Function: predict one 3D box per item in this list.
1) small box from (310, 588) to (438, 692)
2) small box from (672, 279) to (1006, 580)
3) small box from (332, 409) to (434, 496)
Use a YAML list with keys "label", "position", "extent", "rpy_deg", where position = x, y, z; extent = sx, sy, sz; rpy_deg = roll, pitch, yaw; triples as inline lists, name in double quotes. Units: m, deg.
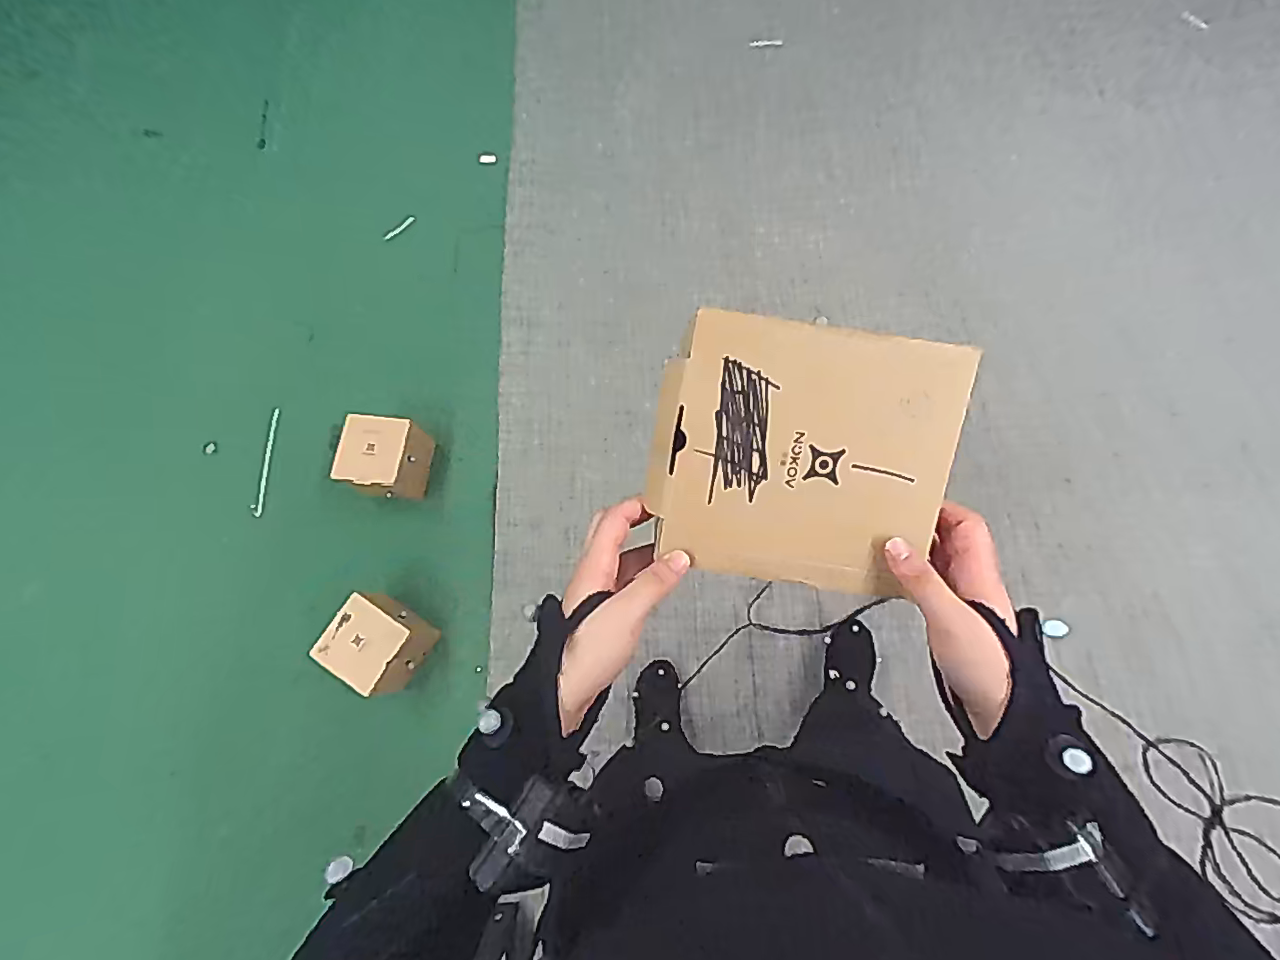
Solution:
- label: "small box"
  position: [-0.617, 0.373, 1.280]
  extent: [0.179, 0.176, 0.168]
  rpy_deg: [31, 78, 10]
- label: "small box"
  position: [0.123, -0.041, 0.415]
  extent: [0.179, 0.176, 0.168]
  rpy_deg: [9, 101, -1]
- label: "small box"
  position: [-0.659, -0.066, 1.410]
  extent: [0.168, 0.176, 0.179]
  rpy_deg: [6, 73, 3]
